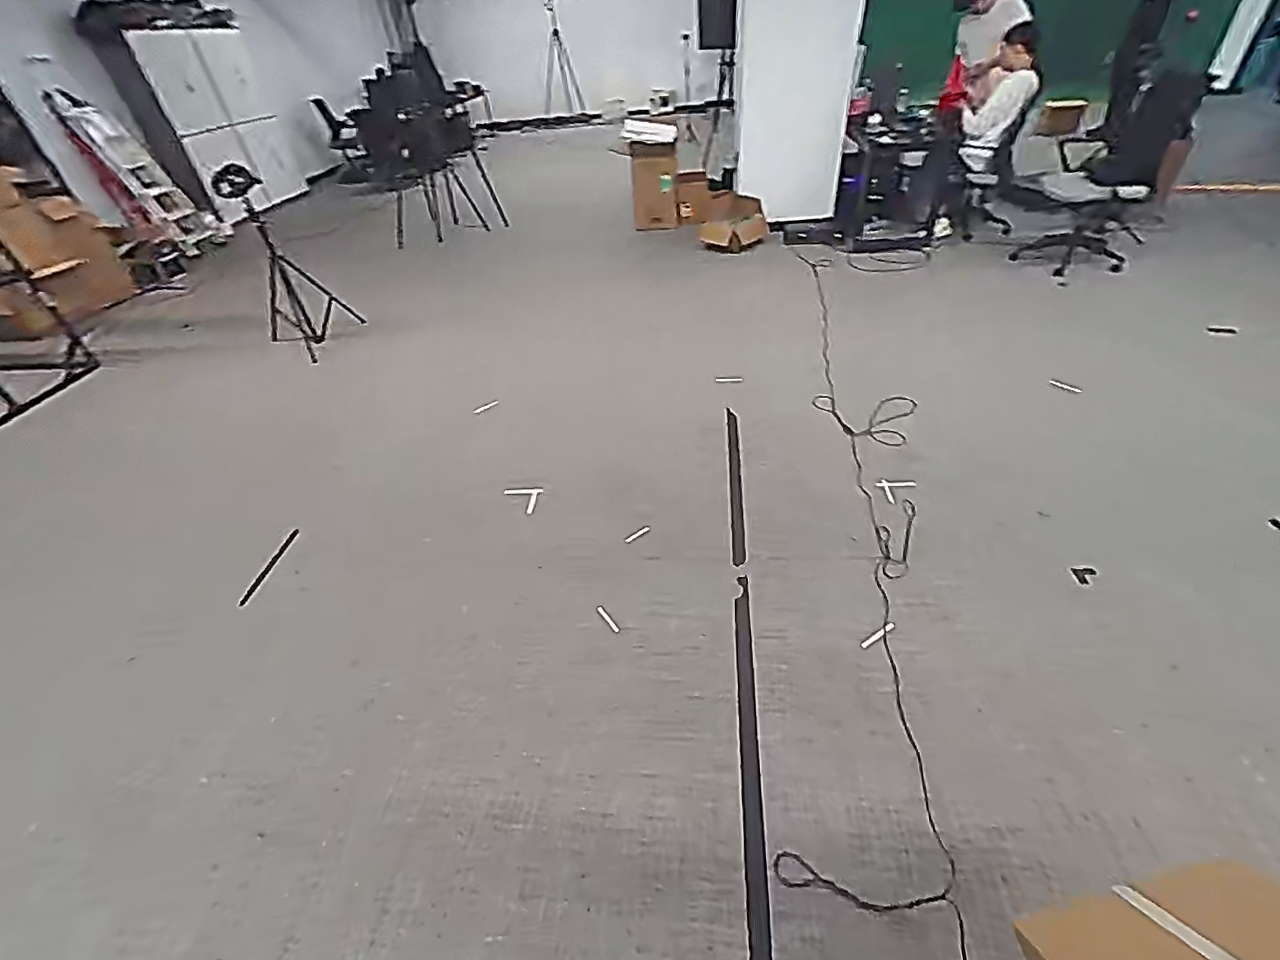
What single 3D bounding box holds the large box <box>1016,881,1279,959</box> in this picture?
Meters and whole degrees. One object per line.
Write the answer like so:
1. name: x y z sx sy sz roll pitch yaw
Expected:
1. large box: 0.685 0.685 0.524 0.320 0.408 0.320 -19 73 4
